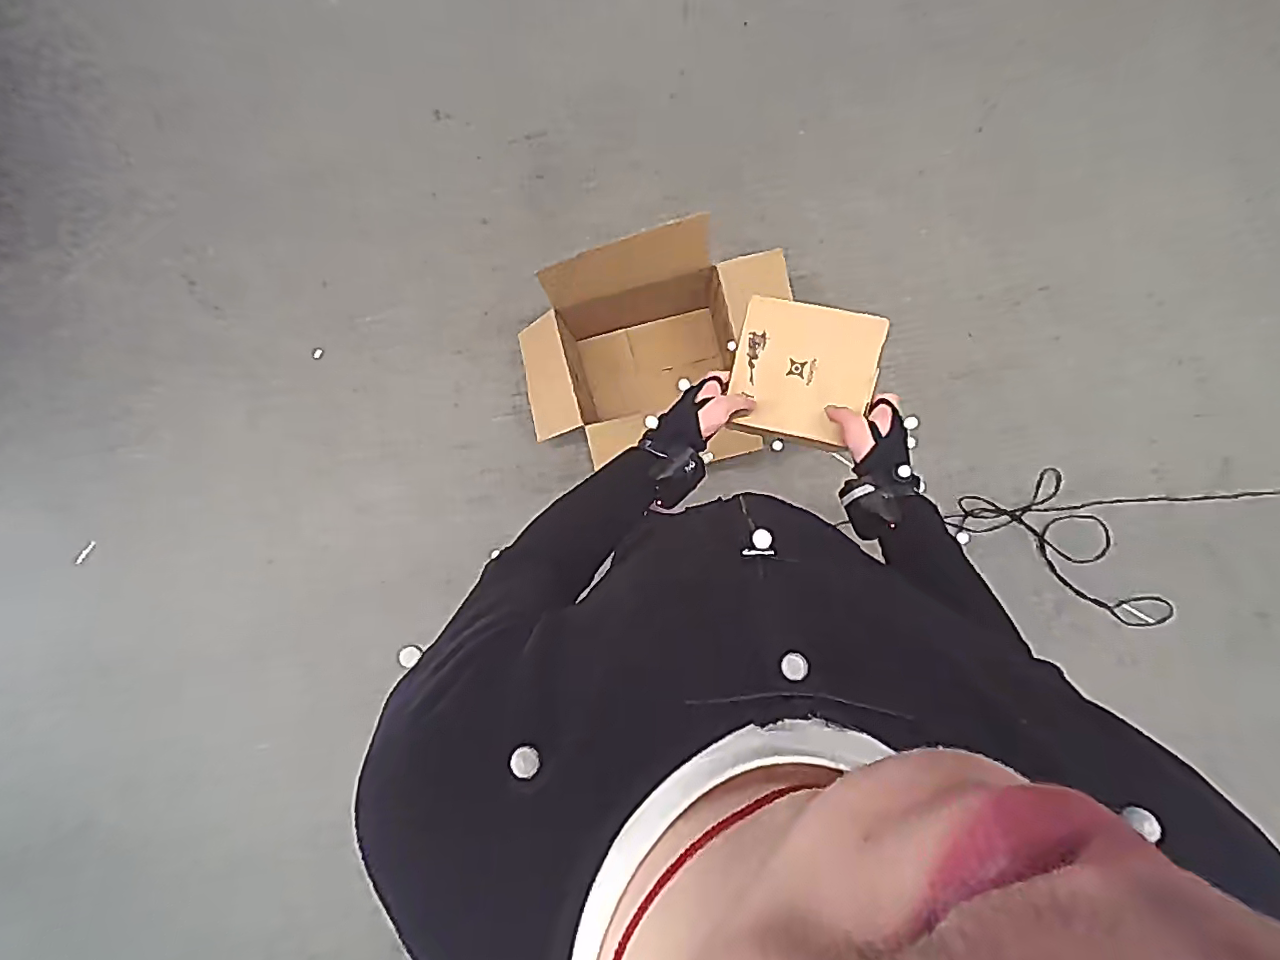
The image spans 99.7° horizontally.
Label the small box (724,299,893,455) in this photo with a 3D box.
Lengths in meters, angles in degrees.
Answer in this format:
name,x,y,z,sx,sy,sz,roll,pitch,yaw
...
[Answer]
name,x,y,z,sx,sy,sz,roll,pitch,yaw
small box,0.225,-0.136,0.764,0.179,0.176,0.168,15,94,9
